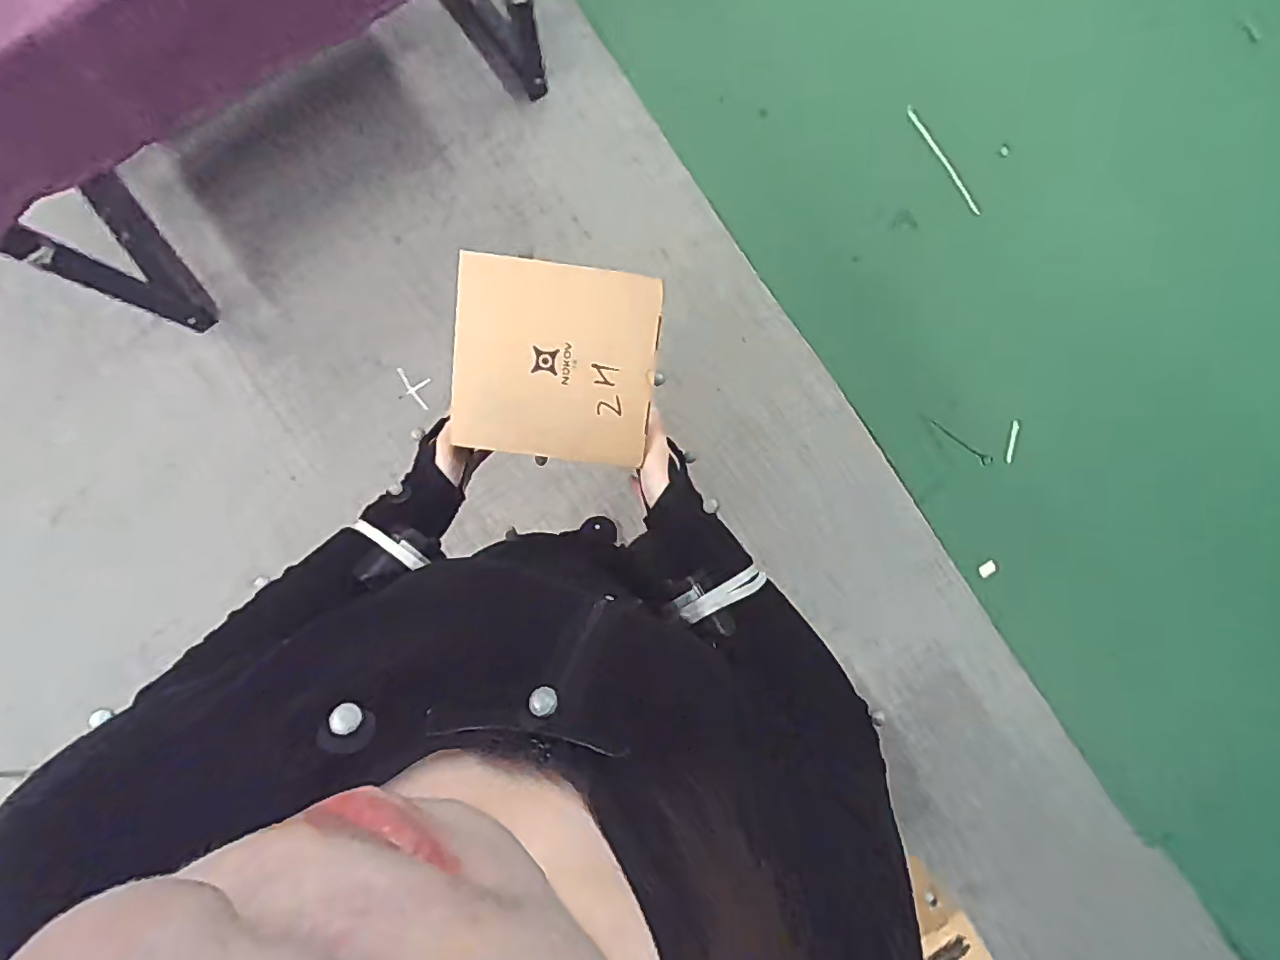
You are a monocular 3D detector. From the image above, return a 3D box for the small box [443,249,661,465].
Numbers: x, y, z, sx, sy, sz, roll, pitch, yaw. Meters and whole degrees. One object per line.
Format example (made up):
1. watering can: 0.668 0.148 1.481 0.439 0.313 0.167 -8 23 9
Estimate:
1. small box: -0.080 -0.118 0.543 0.179 0.176 0.168 6 102 -3
